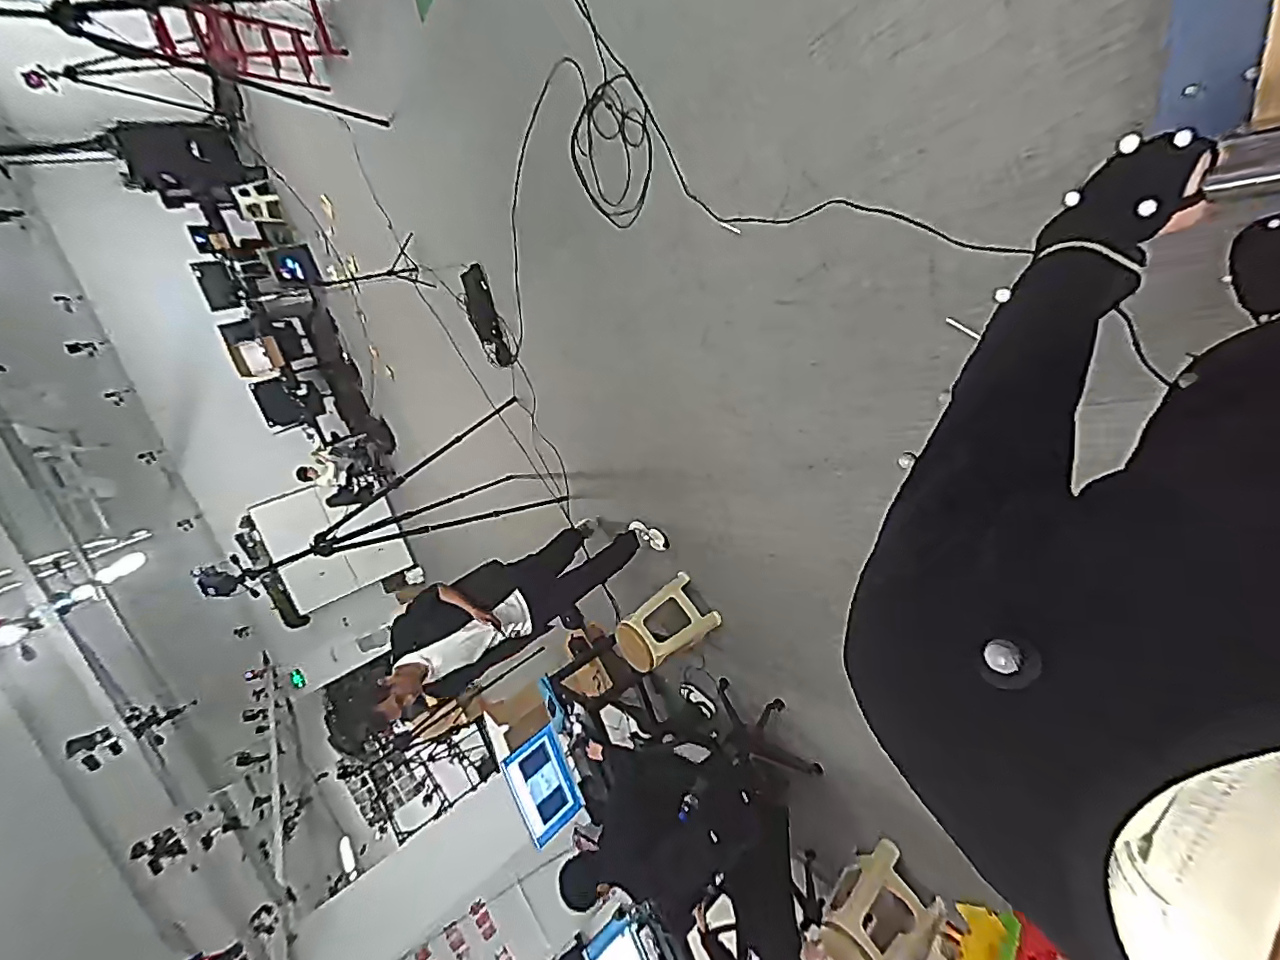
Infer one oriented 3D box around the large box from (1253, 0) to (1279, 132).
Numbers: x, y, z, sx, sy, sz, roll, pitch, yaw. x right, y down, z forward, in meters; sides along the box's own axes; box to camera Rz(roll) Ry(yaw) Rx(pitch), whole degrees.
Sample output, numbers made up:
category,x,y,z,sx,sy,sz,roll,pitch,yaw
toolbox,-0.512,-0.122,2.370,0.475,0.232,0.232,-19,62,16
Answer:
category,x,y,z,sx,sy,sz,roll,pitch,yaw
large box,0.976,-0.668,0.607,0.320,0.320,0.408,15,123,48
